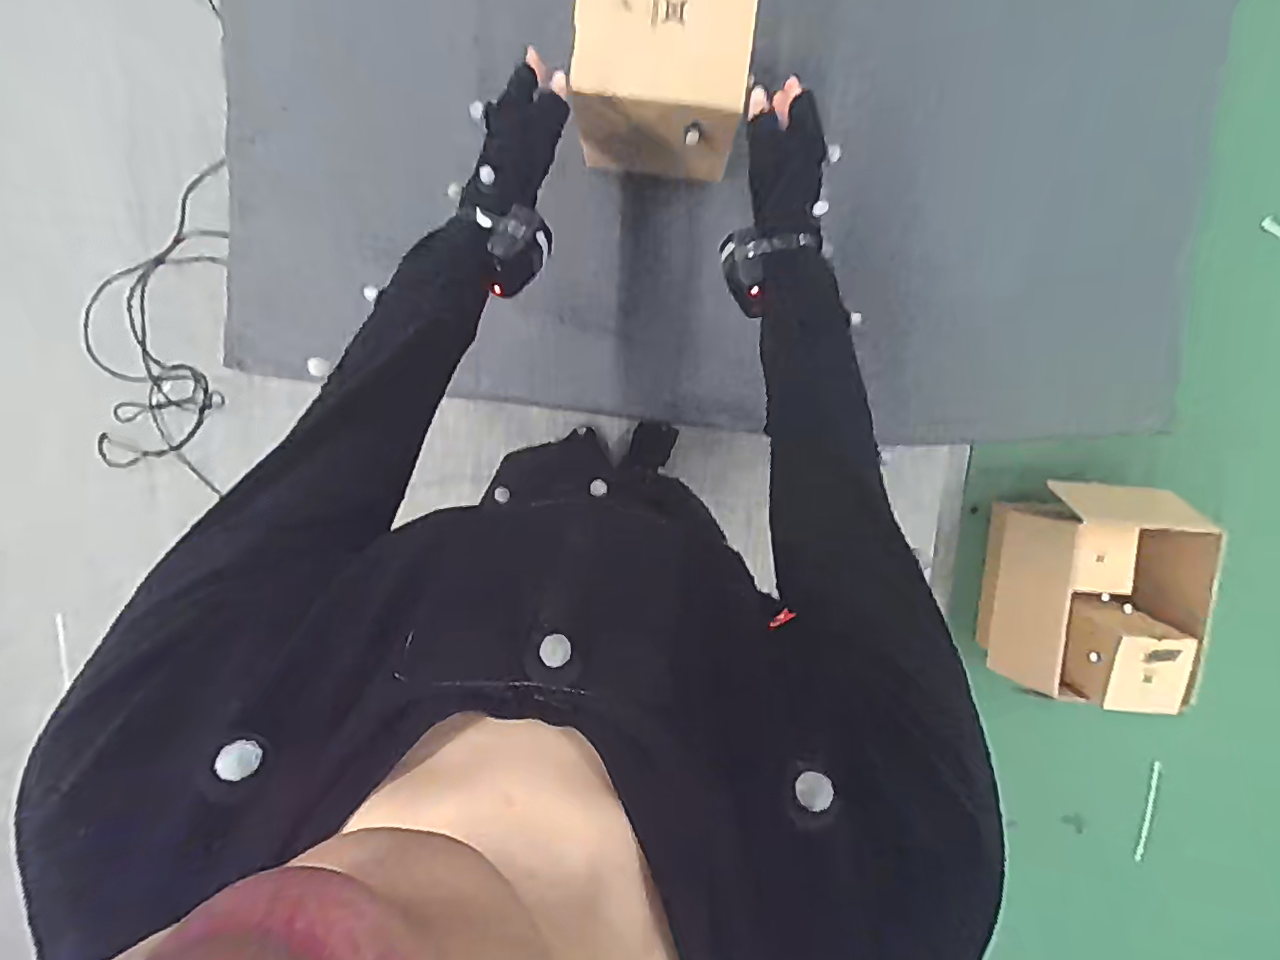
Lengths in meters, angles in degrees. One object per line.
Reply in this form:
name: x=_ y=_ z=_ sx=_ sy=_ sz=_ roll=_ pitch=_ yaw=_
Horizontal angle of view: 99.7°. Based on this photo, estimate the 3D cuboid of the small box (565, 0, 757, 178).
small box: x=0.024 y=-0.459 z=0.598 sx=0.179 sy=0.176 sz=0.168 roll=8 pitch=97 yaw=0
